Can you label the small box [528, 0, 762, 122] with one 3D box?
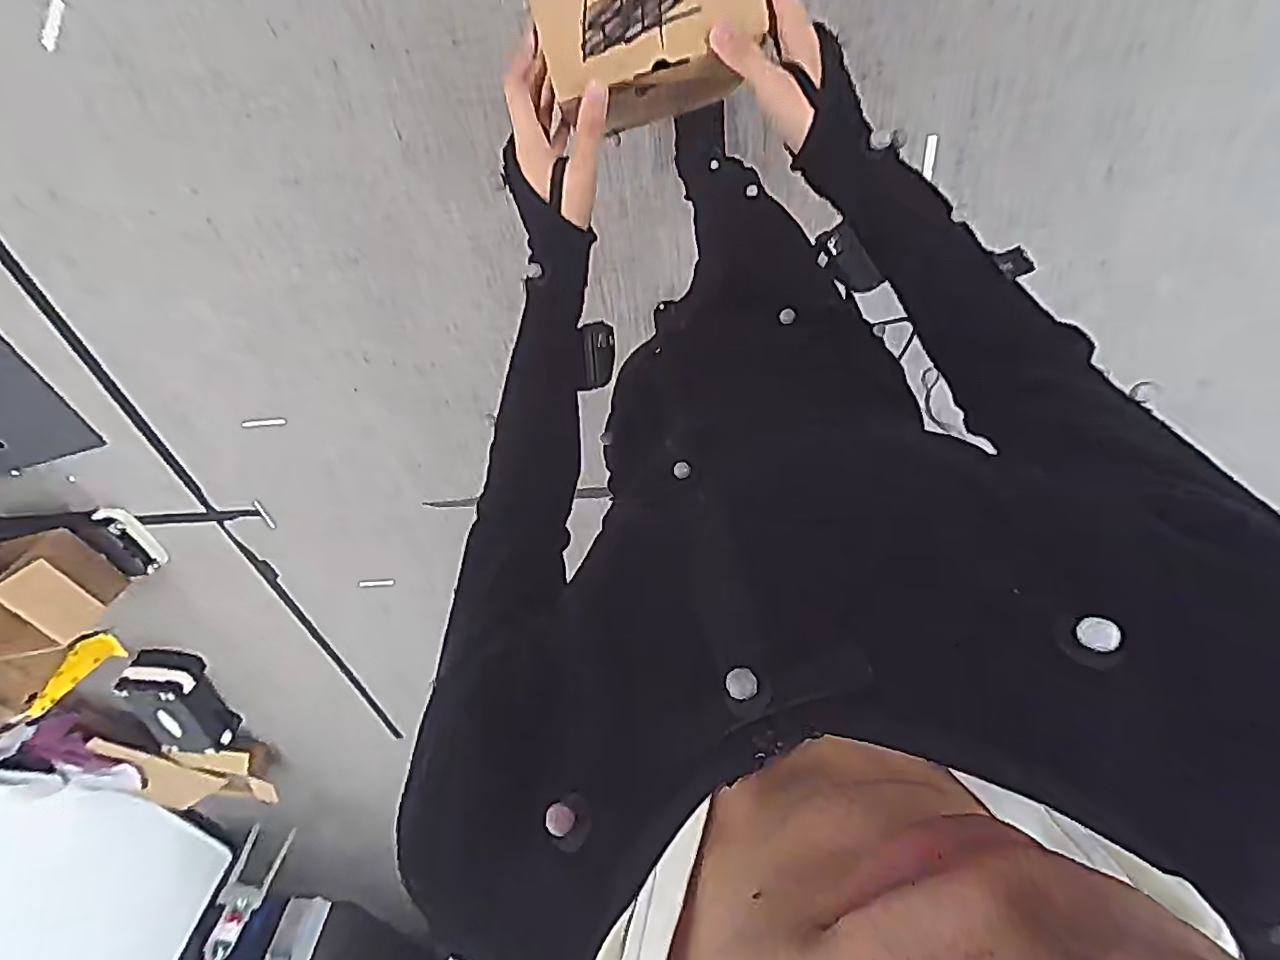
[{"bbox_3d":[-0.006,-0.420,0.443,0.168,0.176,0.179,-14,112,8],"label":"small box"}]
